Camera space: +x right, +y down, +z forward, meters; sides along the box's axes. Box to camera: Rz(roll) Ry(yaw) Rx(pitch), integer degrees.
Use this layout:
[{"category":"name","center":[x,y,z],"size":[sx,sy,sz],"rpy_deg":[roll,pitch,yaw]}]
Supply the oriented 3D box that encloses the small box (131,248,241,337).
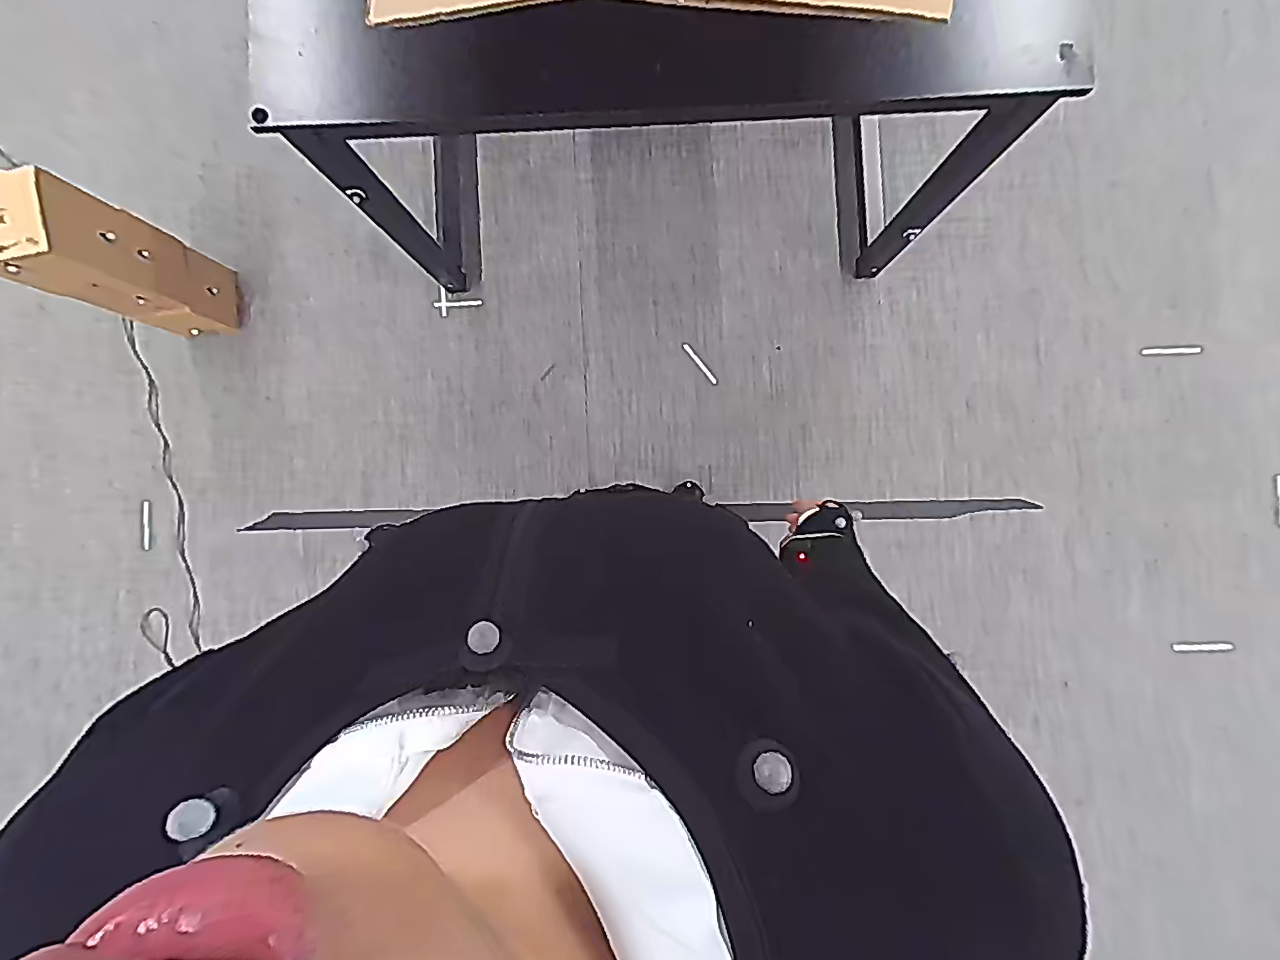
[{"category":"small box","center":[-1.219,-0.500,1.459],"size":[0.168,0.176,0.179],"rpy_deg":[-5,89,1]}]

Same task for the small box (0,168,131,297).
[{"category":"small box","center":[-1.229,-0.509,1.132],"size":[0.168,0.176,0.179],"rpy_deg":[-11,88,1]}]

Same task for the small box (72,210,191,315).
[{"category":"small box","center":[-1.226,-0.510,1.297],"size":[0.168,0.176,0.179],"rpy_deg":[-8,87,0]}]
